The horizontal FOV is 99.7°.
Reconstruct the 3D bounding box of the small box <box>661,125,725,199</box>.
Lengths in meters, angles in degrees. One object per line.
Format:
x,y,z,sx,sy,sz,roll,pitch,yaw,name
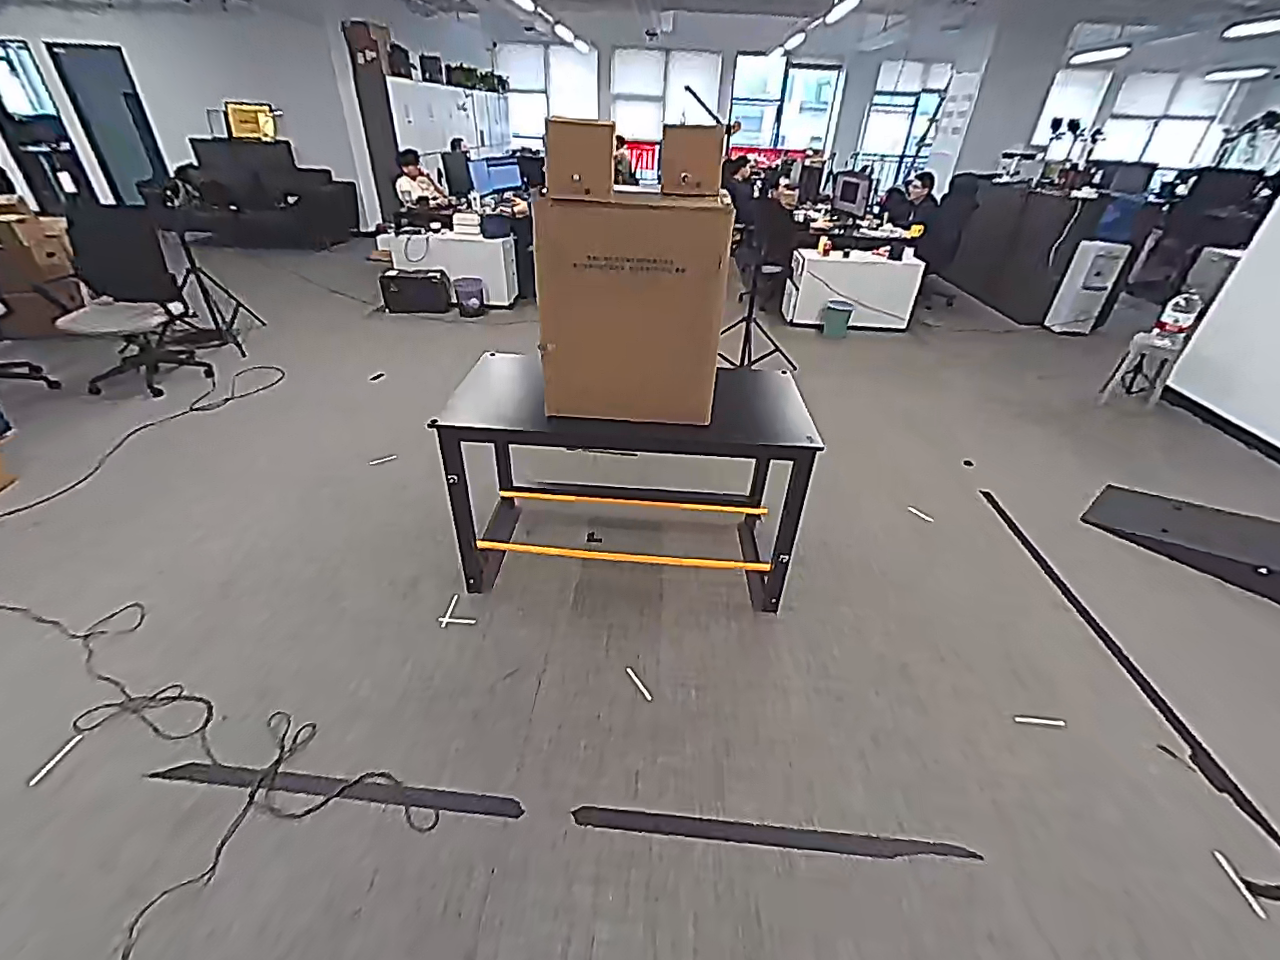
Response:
0.147,-0.895,1.521,0.168,0.176,0.179,3,33,5,small box
